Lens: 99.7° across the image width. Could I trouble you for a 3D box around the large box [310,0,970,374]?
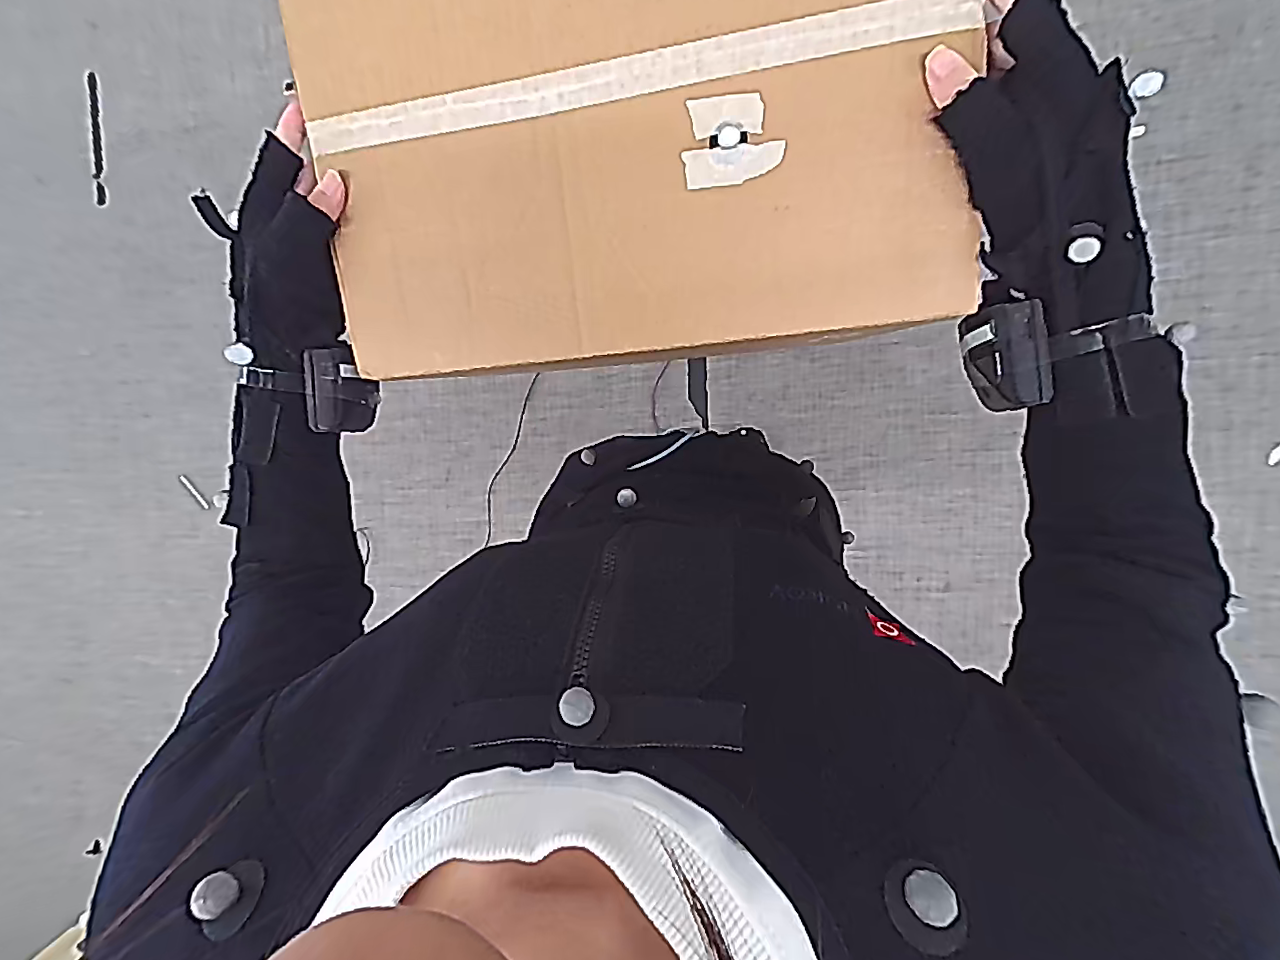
[{"bbox_3d":[0.009,-0.273,0.479,0.408,0.320,0.320,-4,102,9],"label":"large box"}]
